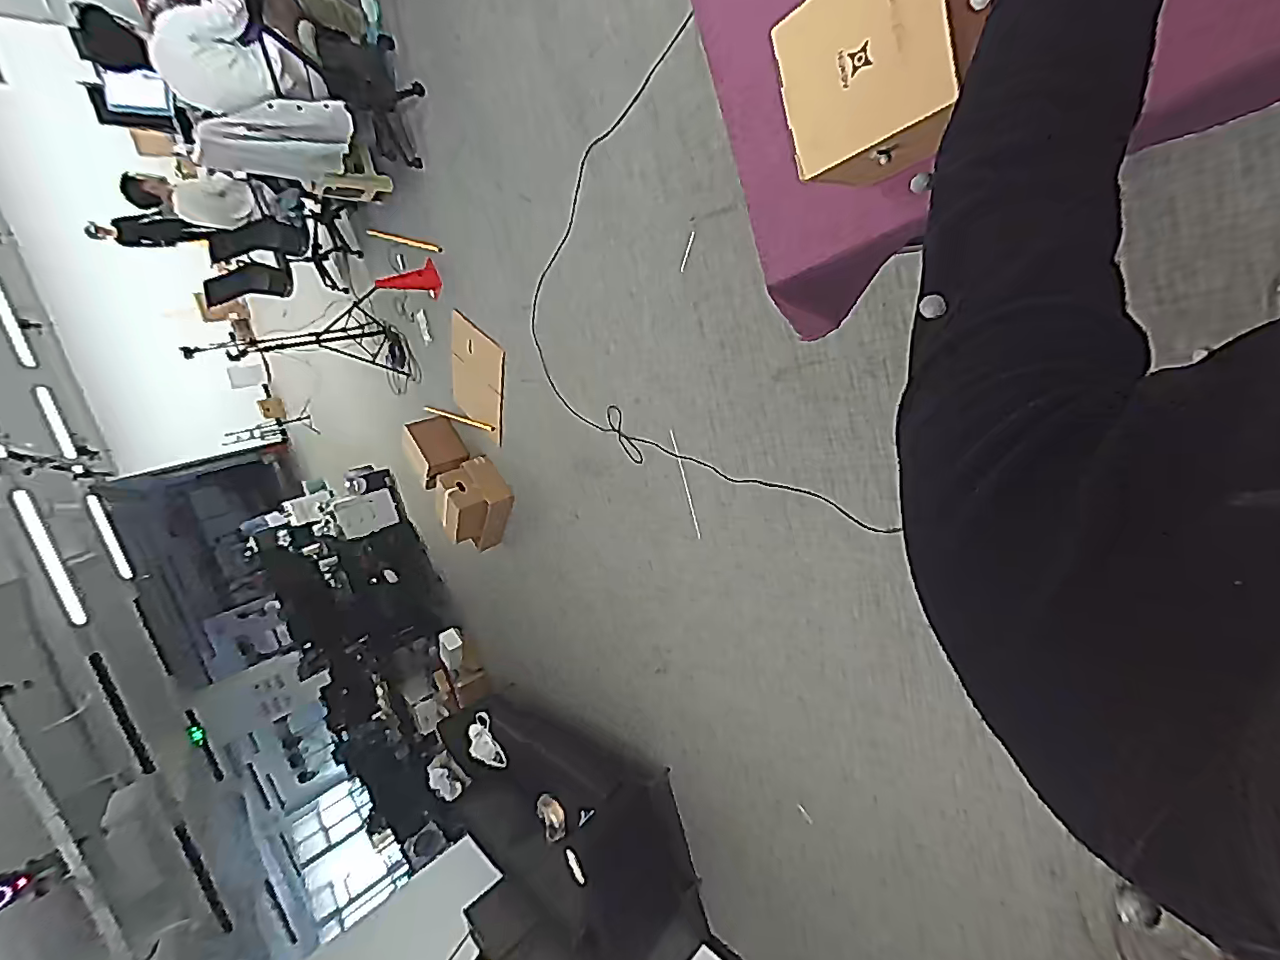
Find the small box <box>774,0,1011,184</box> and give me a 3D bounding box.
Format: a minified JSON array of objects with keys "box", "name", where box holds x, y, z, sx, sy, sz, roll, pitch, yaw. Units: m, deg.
[{"box":[0.284,-0.452,0.609,0.179,0.176,0.168,-3,106,50],"name":"small box"}]
